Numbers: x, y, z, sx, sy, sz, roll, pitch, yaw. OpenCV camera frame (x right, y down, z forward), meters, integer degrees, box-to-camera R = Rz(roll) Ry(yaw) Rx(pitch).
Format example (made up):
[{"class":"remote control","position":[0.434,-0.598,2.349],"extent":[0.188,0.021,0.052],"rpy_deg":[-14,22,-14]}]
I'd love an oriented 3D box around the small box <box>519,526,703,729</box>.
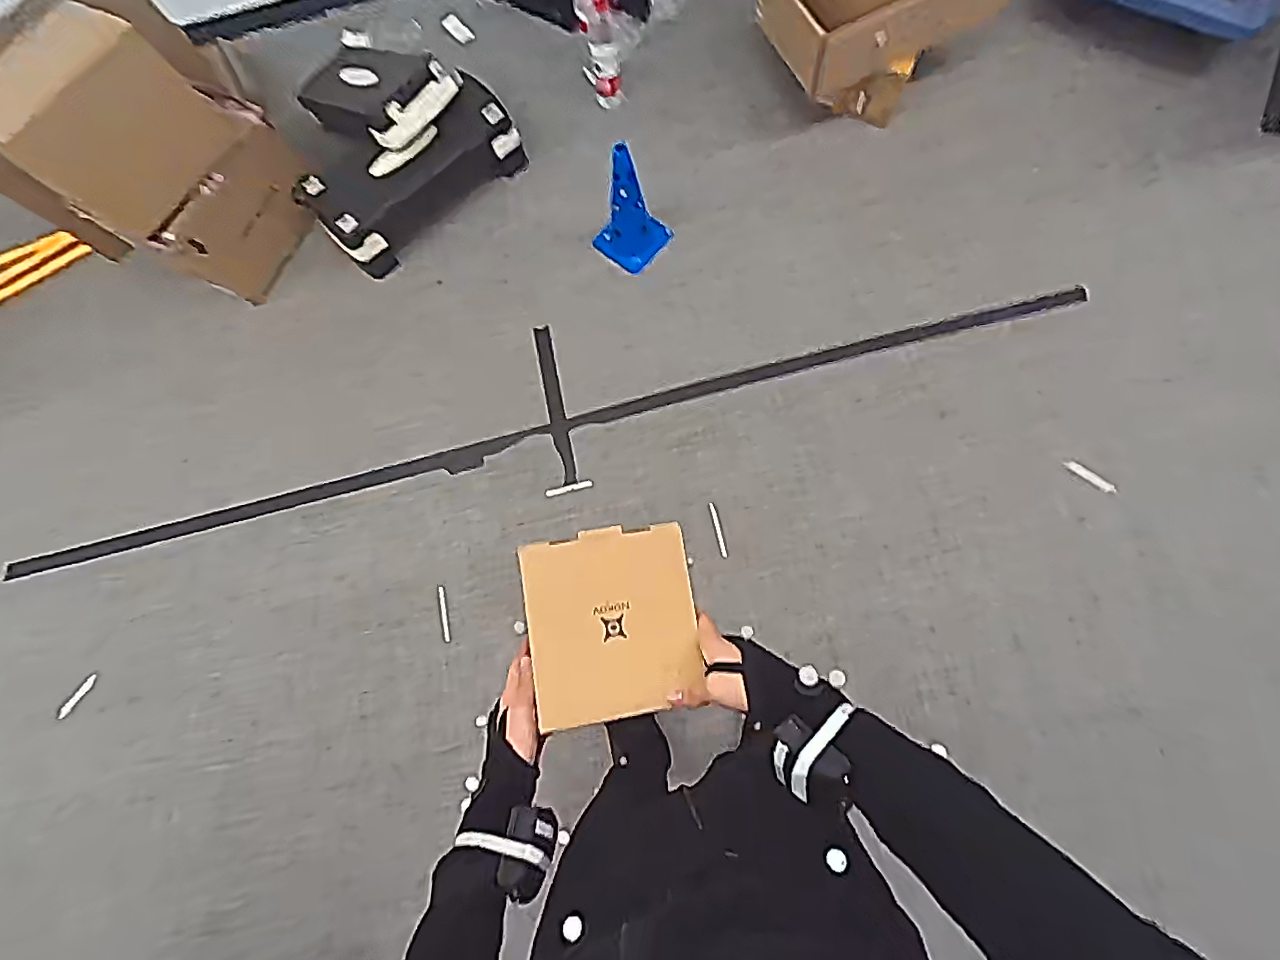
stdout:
[{"class":"small box","position":[-0.037,0.156,0.606],"extent":[0.168,0.176,0.179],"rpy_deg":[-7,78,-8]}]
